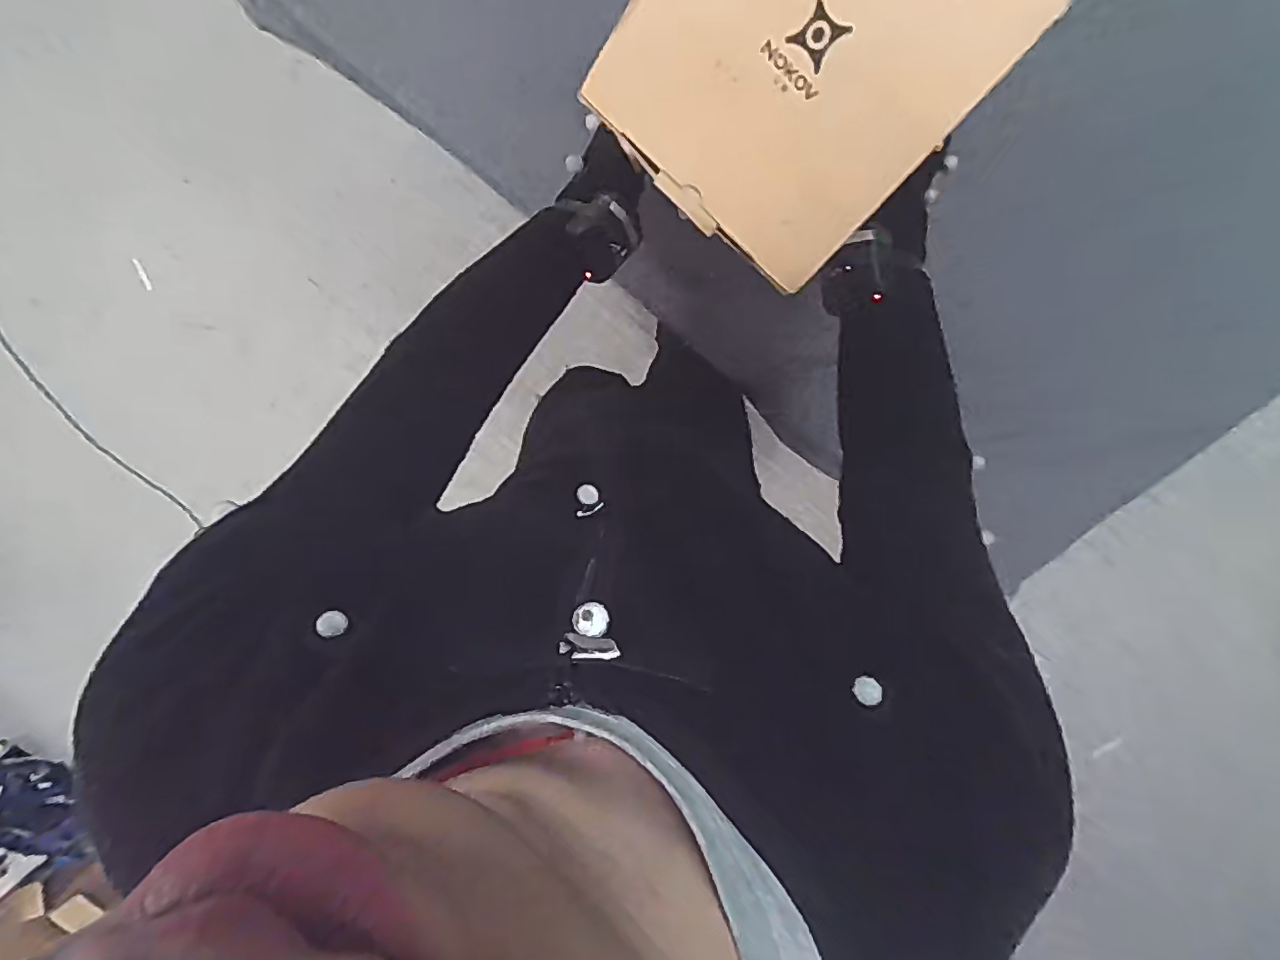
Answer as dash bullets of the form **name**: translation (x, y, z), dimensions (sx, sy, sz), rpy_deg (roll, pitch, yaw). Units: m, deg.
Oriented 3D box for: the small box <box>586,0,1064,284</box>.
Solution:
- **small box**: translation (0.097, -0.257, 0.341), dimensions (0.168, 0.176, 0.179), rpy_deg (39, 118, -11)
